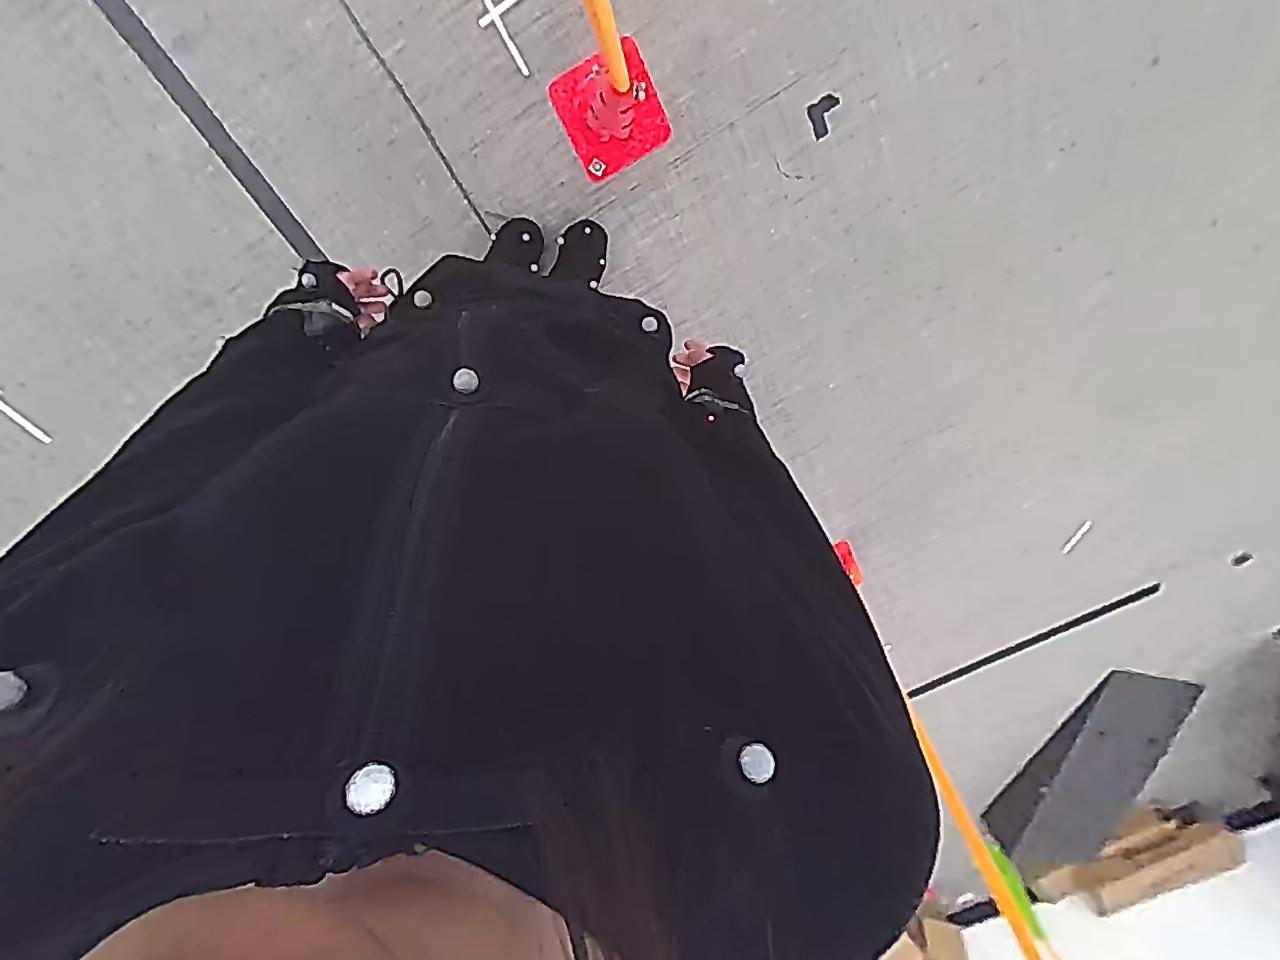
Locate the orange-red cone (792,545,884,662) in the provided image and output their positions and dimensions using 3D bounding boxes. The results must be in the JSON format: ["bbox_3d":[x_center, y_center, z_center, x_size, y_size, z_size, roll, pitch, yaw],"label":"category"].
[{"bbox_3d":[0.621,0.390,1.598,0.198,0.360,0.199,-25,119,8],"label":"orange-red cone"}]
